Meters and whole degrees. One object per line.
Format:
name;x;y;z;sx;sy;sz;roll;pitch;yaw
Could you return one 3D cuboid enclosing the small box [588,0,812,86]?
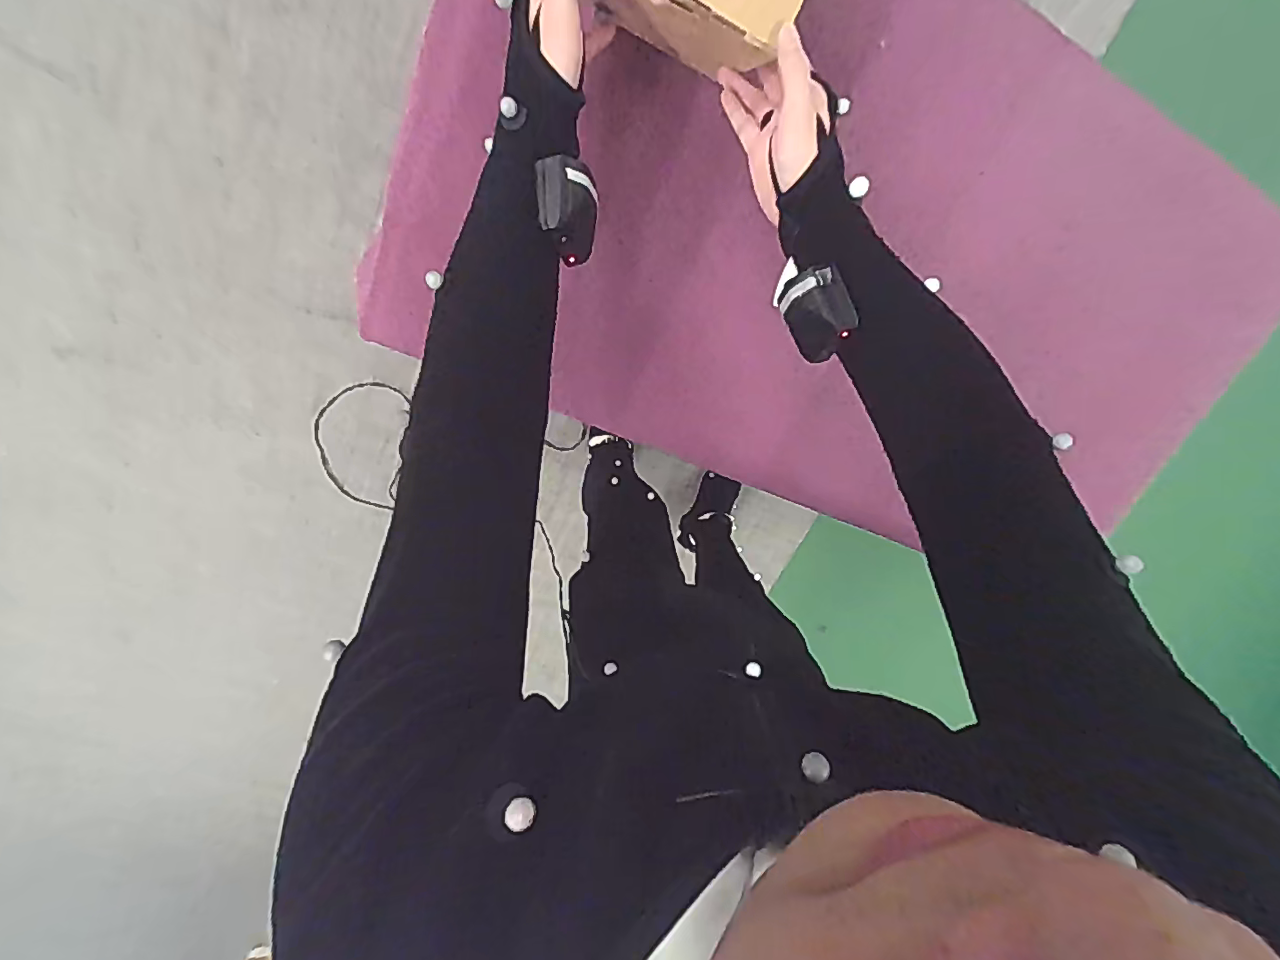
small box;0.057;-0.446;0.422;0.168;0.176;0.179;17;115;-19
